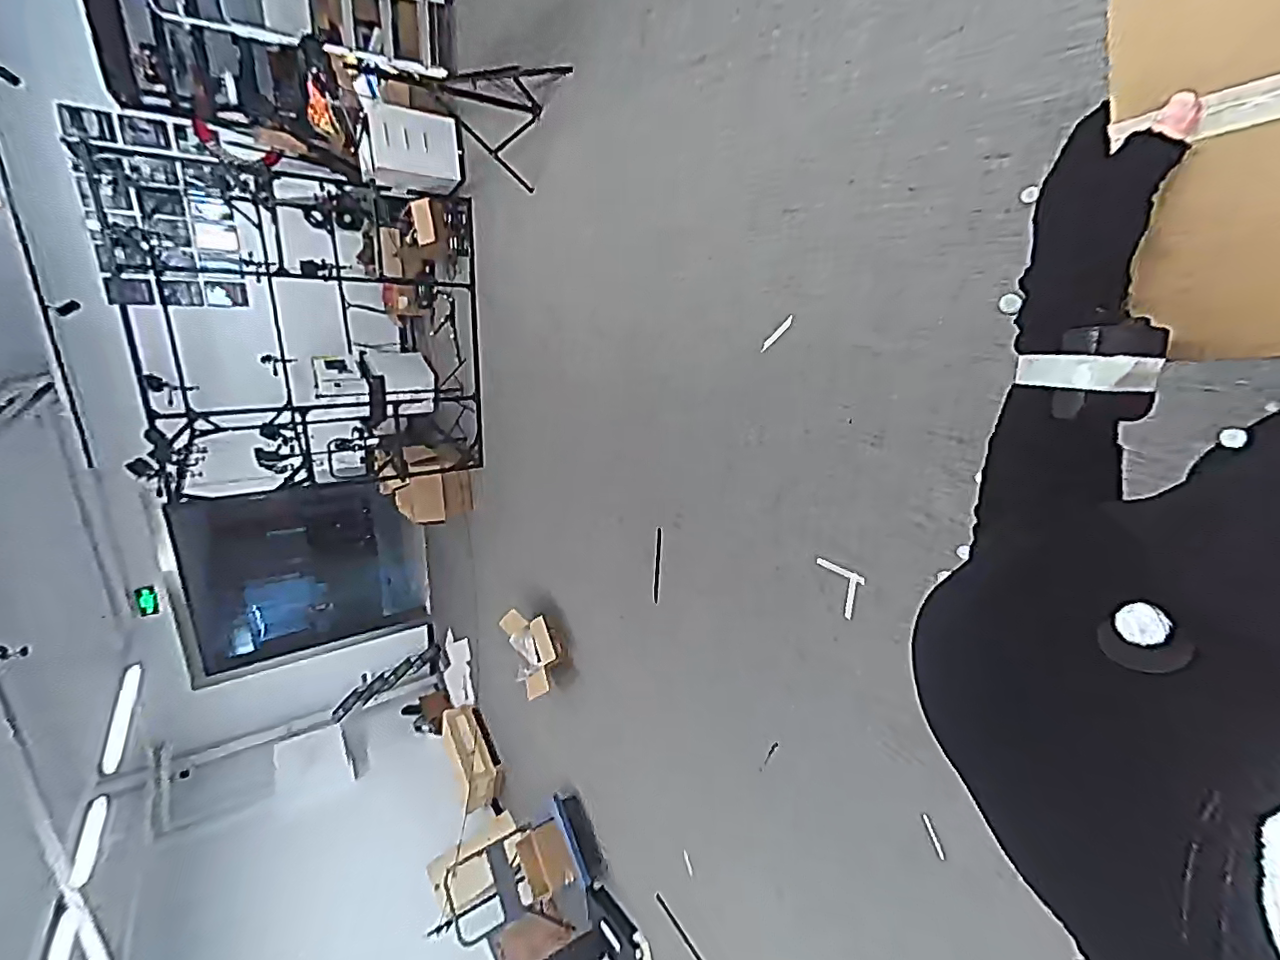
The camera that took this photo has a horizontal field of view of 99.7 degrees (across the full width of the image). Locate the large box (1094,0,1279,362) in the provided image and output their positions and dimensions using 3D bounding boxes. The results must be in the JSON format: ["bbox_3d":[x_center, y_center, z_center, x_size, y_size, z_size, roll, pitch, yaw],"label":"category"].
[{"bbox_3d":[0.517,-0.281,0.254,0.408,0.320,0.320,11,137,52],"label":"large box"}]
